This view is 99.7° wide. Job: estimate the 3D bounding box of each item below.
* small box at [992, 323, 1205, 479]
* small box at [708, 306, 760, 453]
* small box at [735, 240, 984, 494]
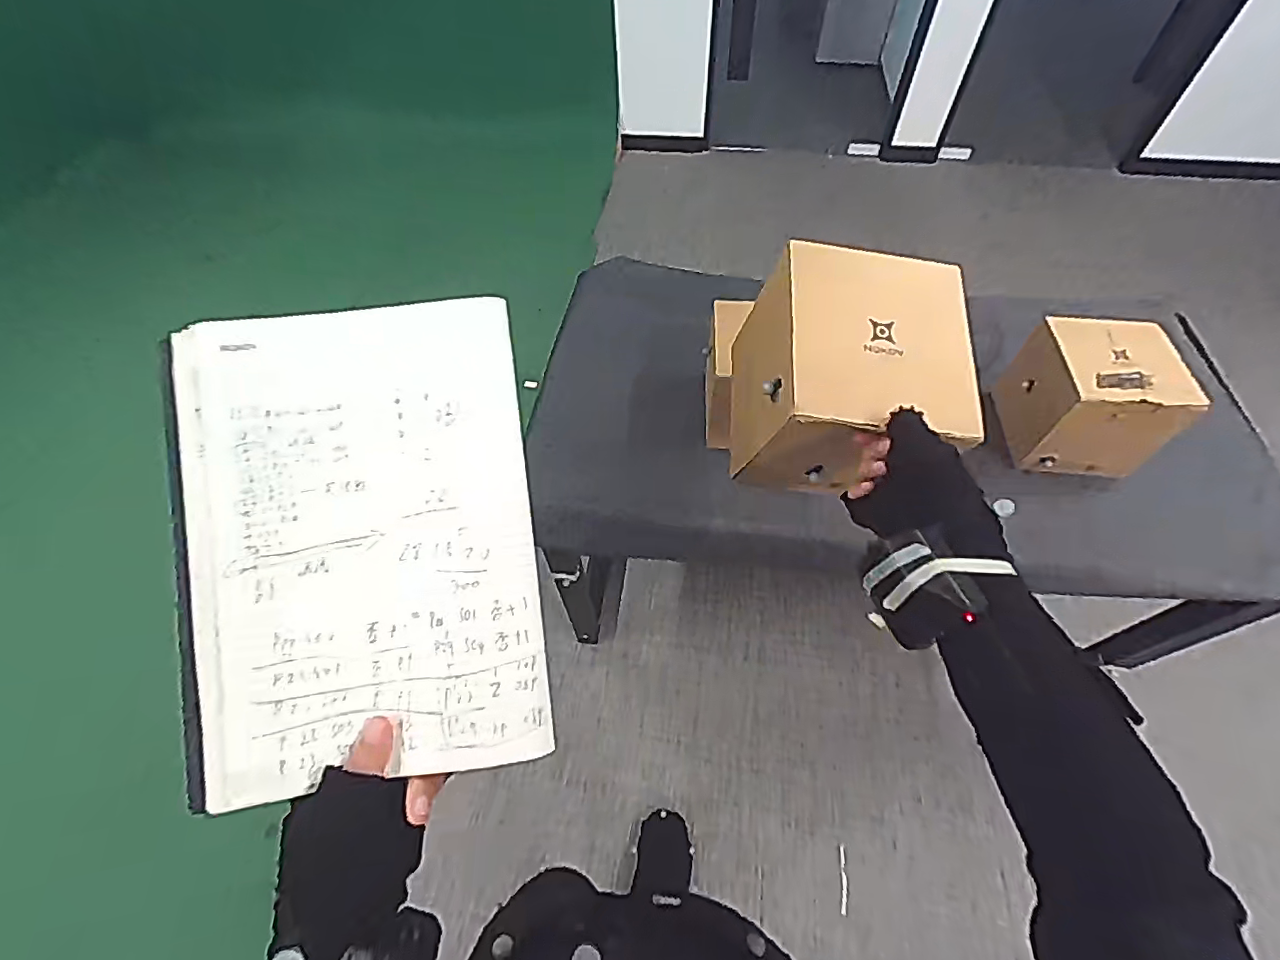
[{"bbox_3d":[0.693,-0.119,0.846,0.168,0.176,0.179,6,54,5],"label":"small box"},{"bbox_3d":[0.200,-0.160,0.885,0.168,0.176,0.179,2,55,3],"label":"small box"},{"bbox_3d":[0.198,-0.100,0.542,0.168,0.176,0.179,6,71,-7],"label":"small box"}]
